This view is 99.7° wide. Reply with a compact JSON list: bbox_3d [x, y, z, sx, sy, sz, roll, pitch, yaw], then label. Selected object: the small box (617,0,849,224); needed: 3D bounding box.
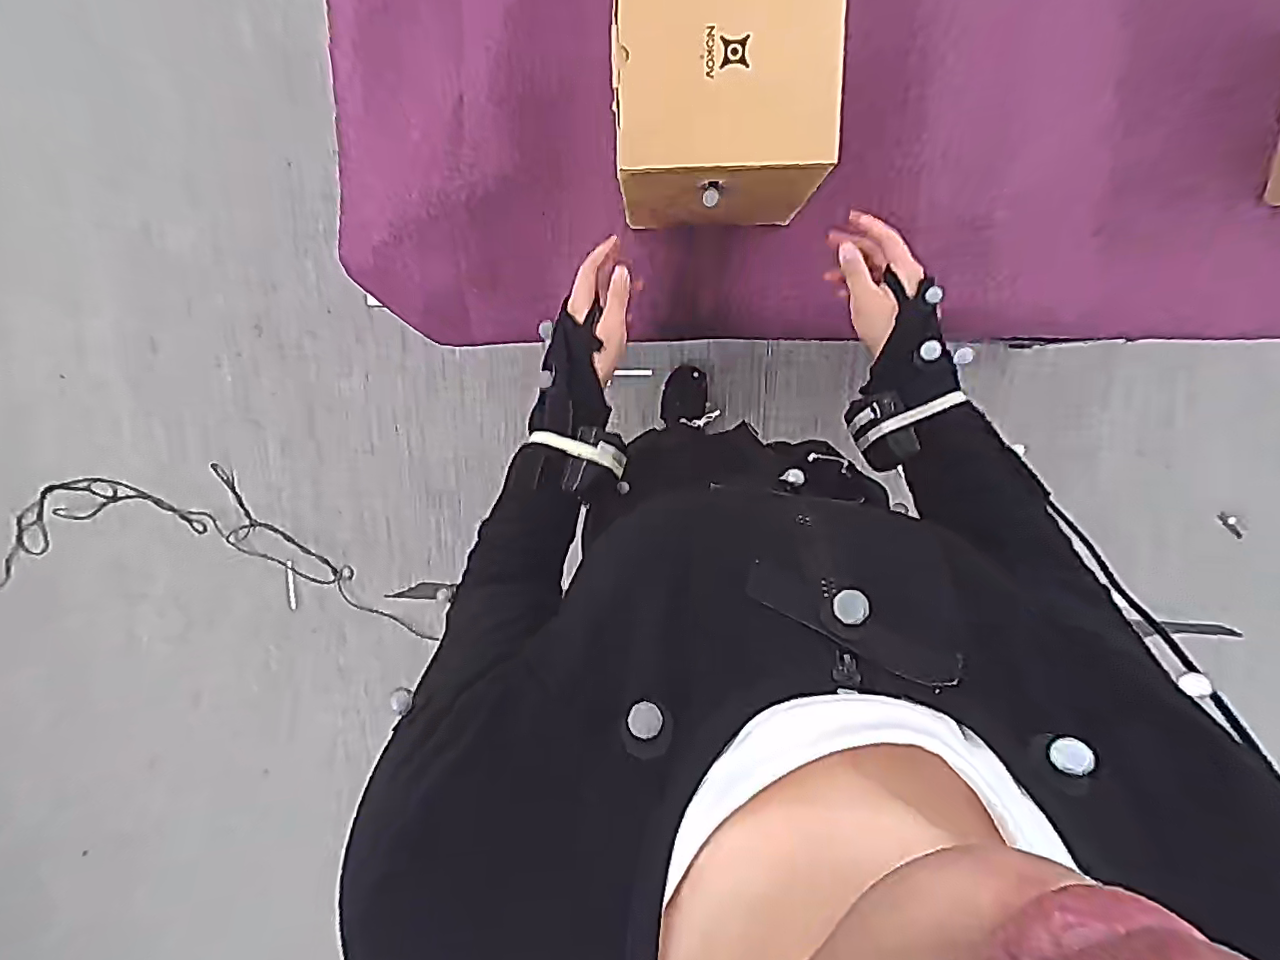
[{"bbox_3d":[0.072,-0.341,0.488,0.179,0.176,0.168,0,100,3],"label":"small box"}]
